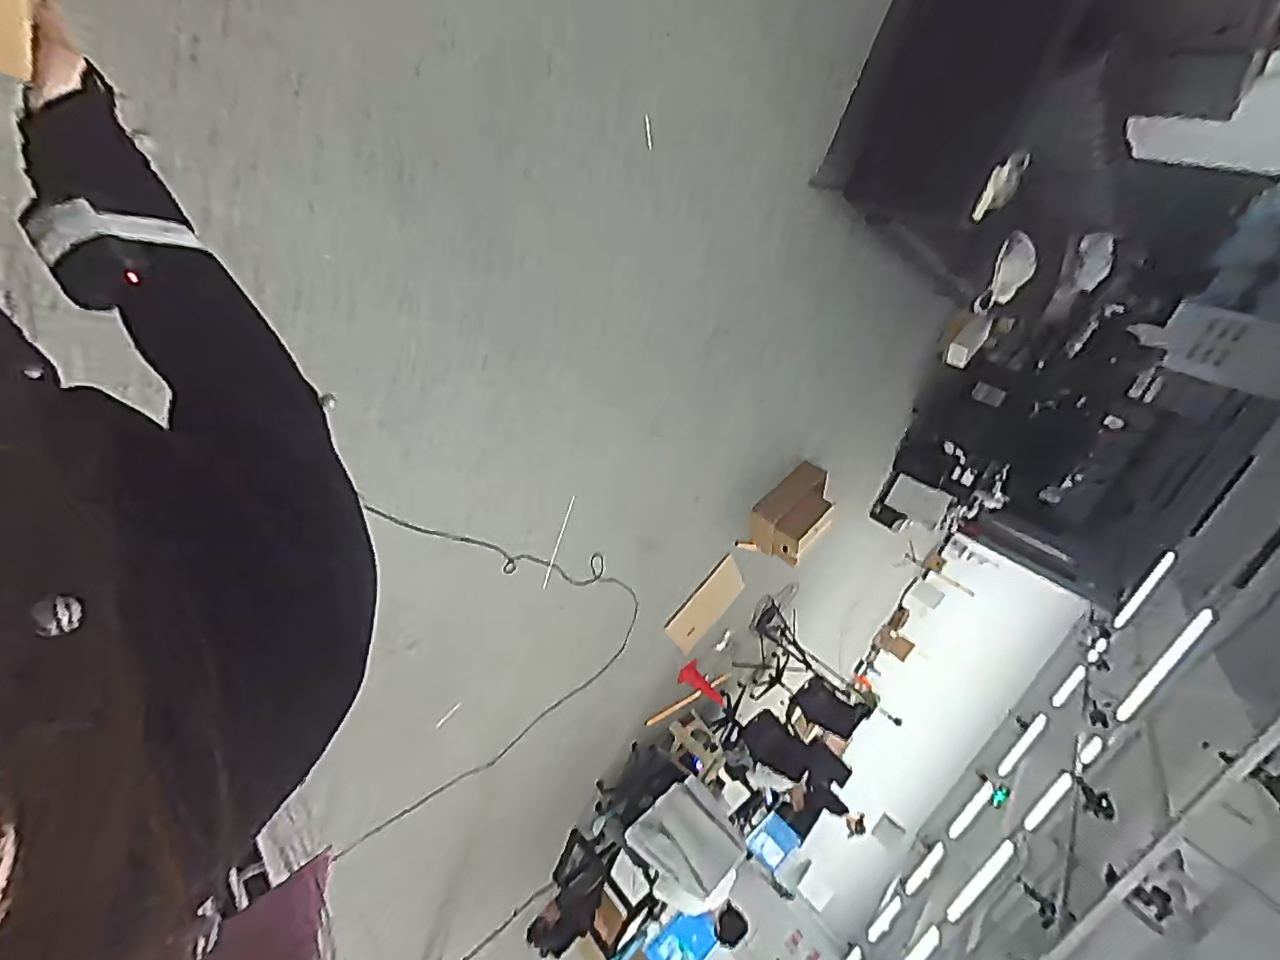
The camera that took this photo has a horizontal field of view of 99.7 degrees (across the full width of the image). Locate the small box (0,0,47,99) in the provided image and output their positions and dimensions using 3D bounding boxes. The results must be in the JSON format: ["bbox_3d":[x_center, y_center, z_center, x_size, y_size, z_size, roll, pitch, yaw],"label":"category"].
[{"bbox_3d":[-0.459,-0.364,0.305,0.168,0.176,0.179,-1,125,-47],"label":"small box"}]
